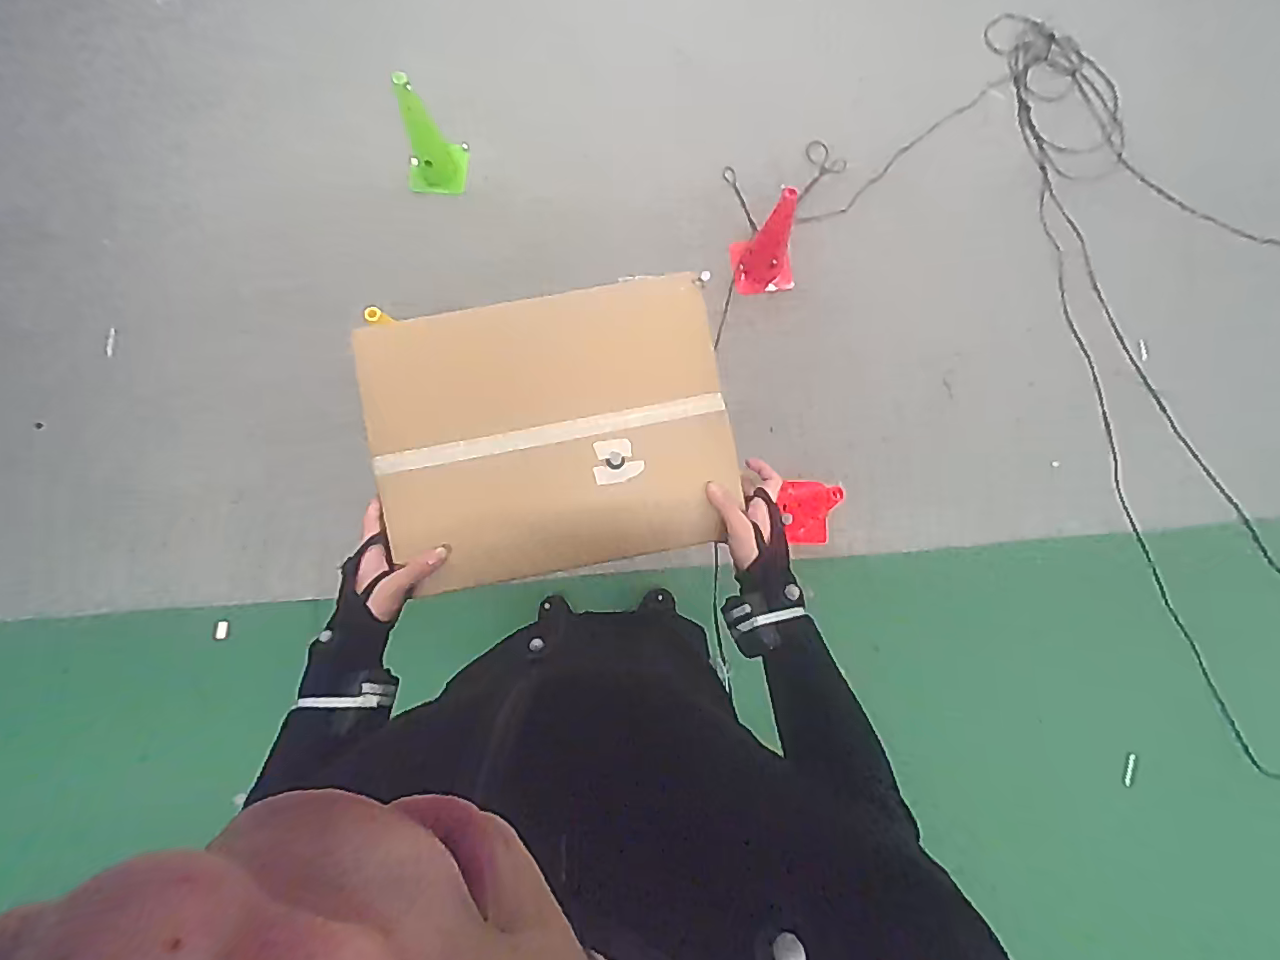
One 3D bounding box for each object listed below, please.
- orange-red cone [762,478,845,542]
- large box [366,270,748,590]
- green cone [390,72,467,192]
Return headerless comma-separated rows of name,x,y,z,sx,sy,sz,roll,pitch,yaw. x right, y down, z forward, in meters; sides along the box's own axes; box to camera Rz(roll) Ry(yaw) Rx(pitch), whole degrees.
orange-red cone,0.494,0.064,1.534,0.199,0.360,0.198,3,80,-2
large box,-0.102,-0.056,0.775,0.408,0.320,0.320,-11,90,-3
green cone,-0.716,-1.145,1.746,0.200,0.368,0.202,2,80,-1
